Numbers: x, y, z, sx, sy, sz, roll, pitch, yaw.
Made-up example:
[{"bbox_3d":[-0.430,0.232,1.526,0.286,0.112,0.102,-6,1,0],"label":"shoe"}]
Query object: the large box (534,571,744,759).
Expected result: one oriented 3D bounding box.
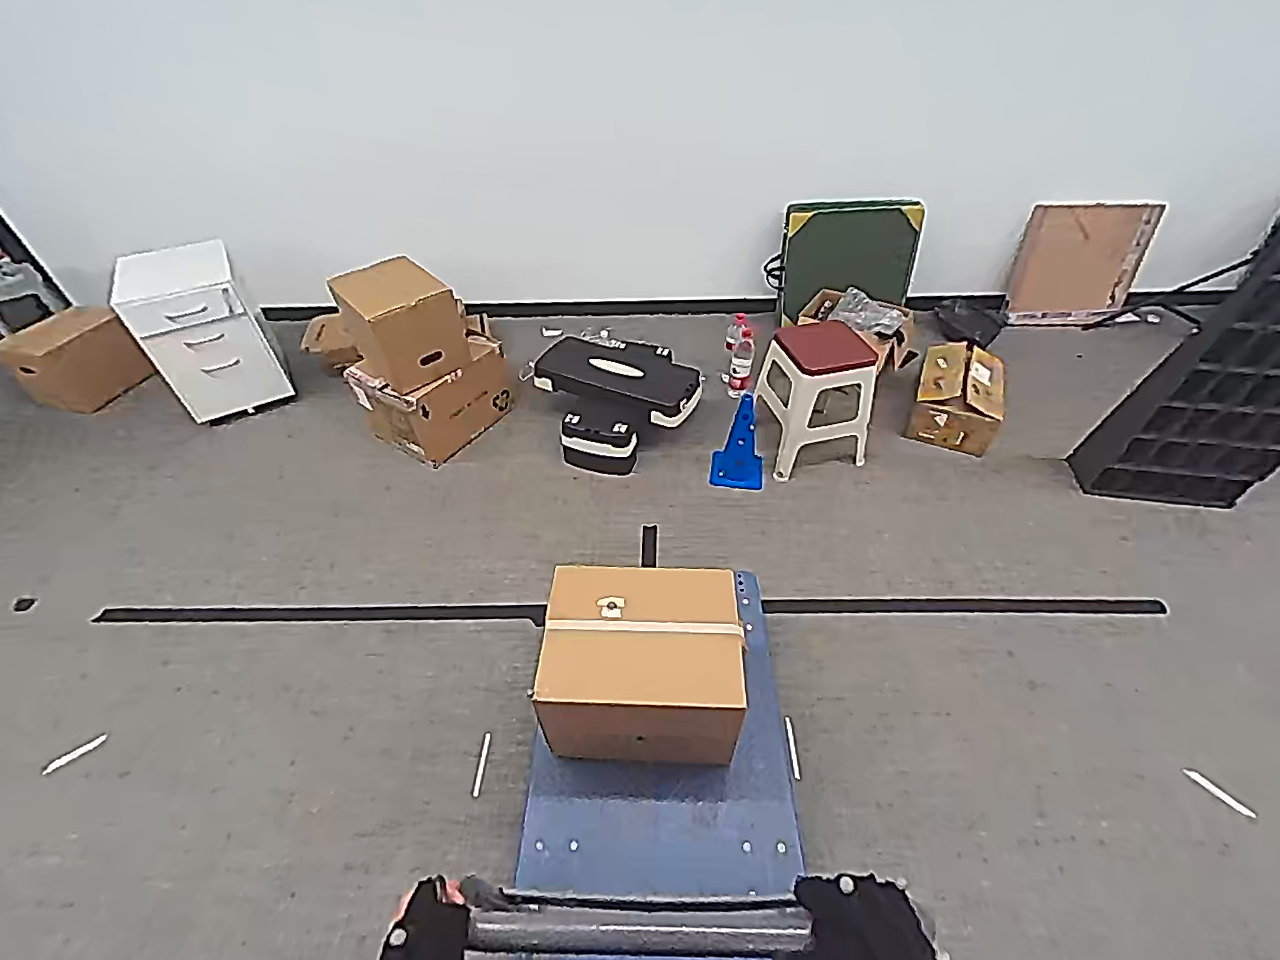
[{"bbox_3d":[0.008,0.420,1.224,0.408,0.320,0.320,1,45,3],"label":"large box"}]
